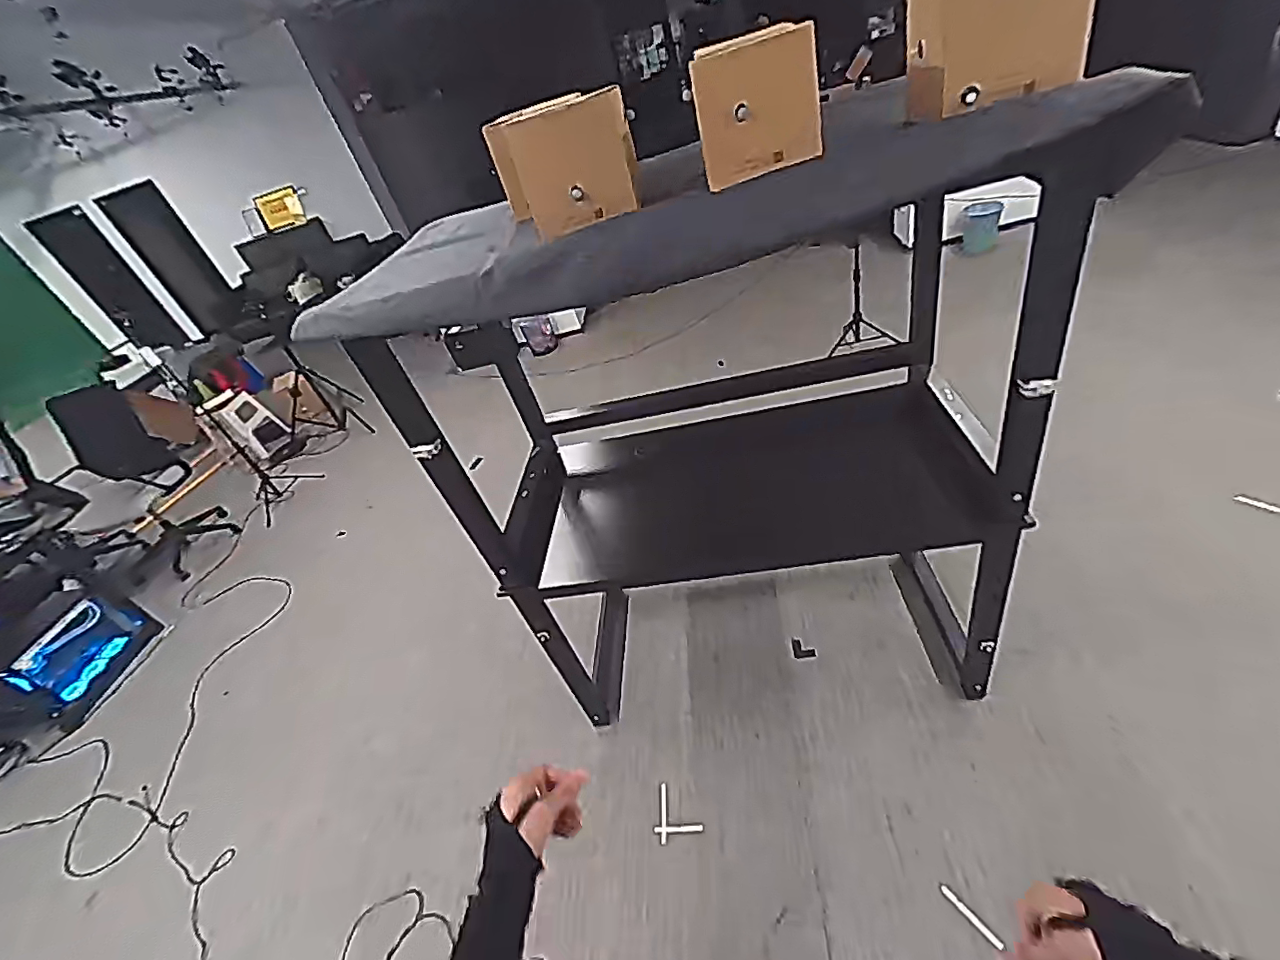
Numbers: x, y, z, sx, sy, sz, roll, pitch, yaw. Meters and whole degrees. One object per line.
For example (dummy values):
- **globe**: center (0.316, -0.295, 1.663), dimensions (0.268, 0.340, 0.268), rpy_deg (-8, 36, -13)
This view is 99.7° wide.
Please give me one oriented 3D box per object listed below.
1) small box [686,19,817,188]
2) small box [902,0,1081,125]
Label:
- **small box**: center (0.168, -0.565, 0.827), dimensions (0.168, 0.176, 0.179), rpy_deg (-10, 35, 12)
- **small box**: center (0.469, -0.605, 0.738), dimensions (0.168, 0.176, 0.179), rpy_deg (-9, 34, 14)
